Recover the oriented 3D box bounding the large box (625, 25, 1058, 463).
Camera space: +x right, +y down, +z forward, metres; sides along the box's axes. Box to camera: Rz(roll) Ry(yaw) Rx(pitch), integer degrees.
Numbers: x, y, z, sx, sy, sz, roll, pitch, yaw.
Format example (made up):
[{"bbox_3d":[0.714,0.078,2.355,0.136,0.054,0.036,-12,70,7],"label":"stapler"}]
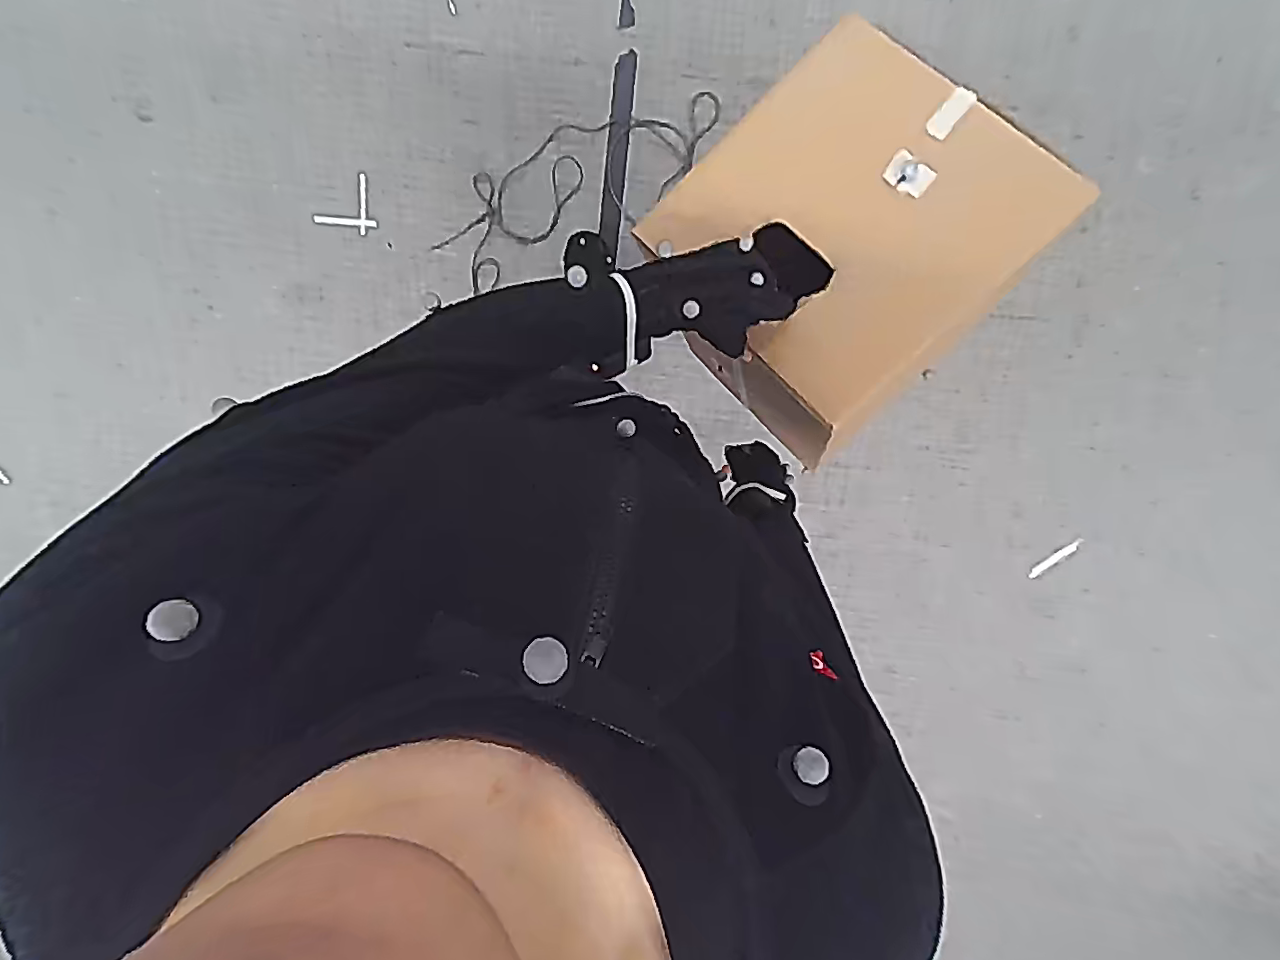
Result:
[{"bbox_3d":[0.241,-0.257,0.734,0.320,0.408,0.320,-42,76,9],"label":"large box"}]
